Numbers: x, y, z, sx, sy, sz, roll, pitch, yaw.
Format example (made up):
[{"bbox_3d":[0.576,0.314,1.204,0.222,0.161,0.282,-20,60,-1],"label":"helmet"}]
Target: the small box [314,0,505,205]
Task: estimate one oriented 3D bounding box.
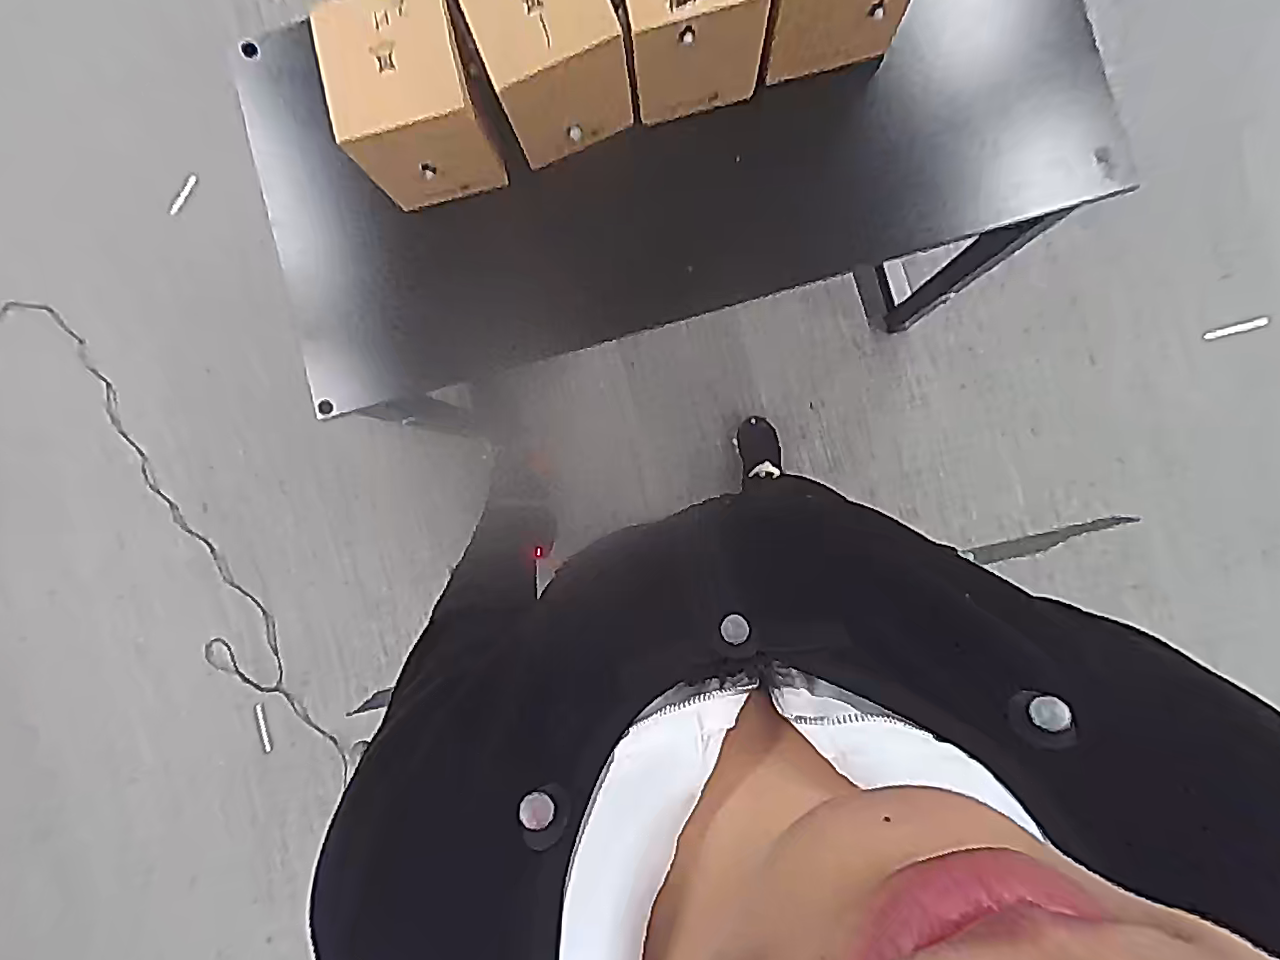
[{"bbox_3d":[-0.297,-0.503,0.734,0.168,0.176,0.179,-12,88,4],"label":"small box"}]
